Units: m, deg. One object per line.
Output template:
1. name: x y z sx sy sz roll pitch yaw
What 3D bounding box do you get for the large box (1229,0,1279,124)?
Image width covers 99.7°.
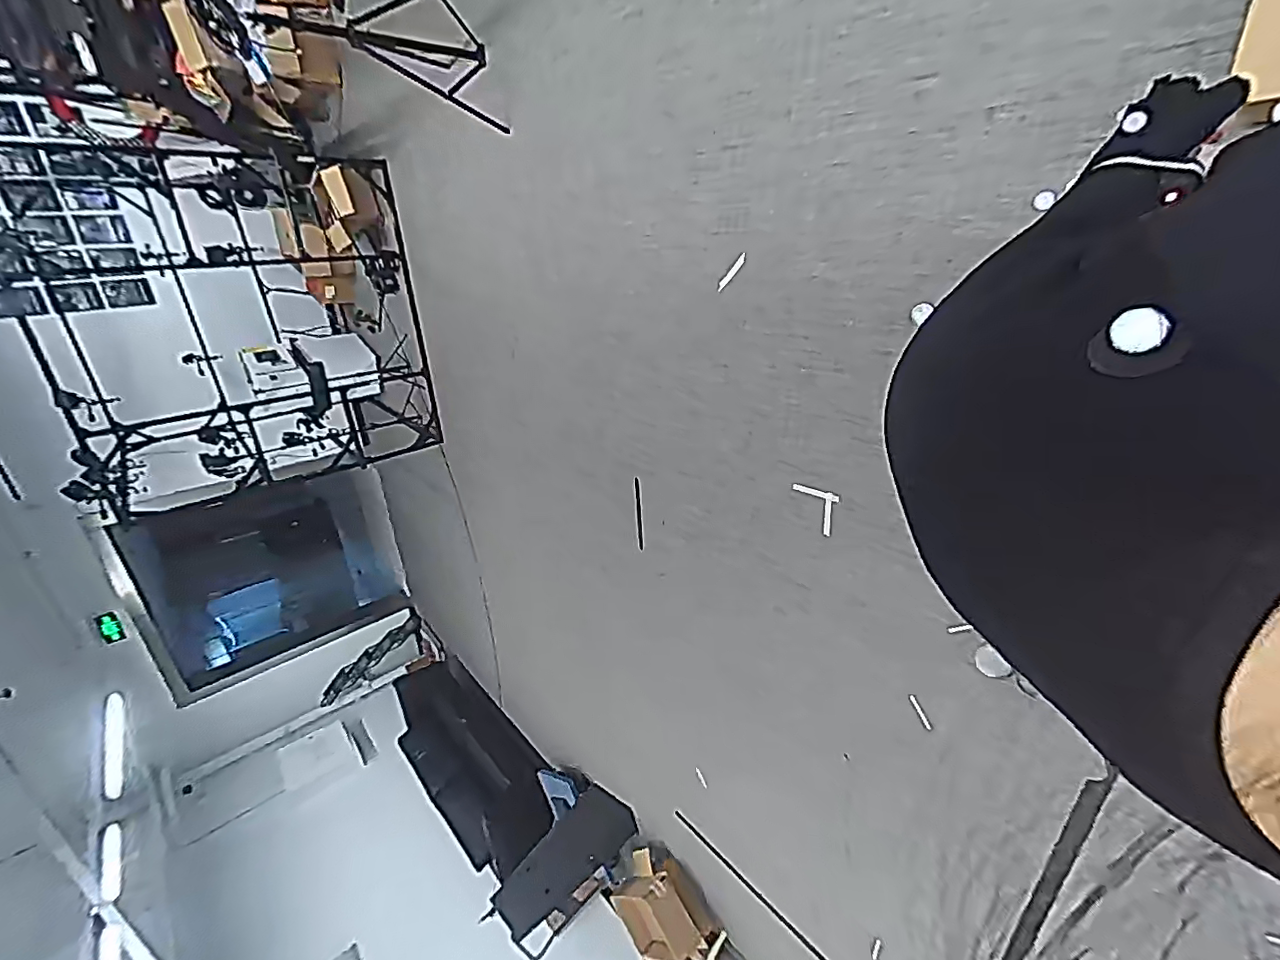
1. large box: 1.048 -0.662 0.648 0.408 0.320 0.320 21 124 44
